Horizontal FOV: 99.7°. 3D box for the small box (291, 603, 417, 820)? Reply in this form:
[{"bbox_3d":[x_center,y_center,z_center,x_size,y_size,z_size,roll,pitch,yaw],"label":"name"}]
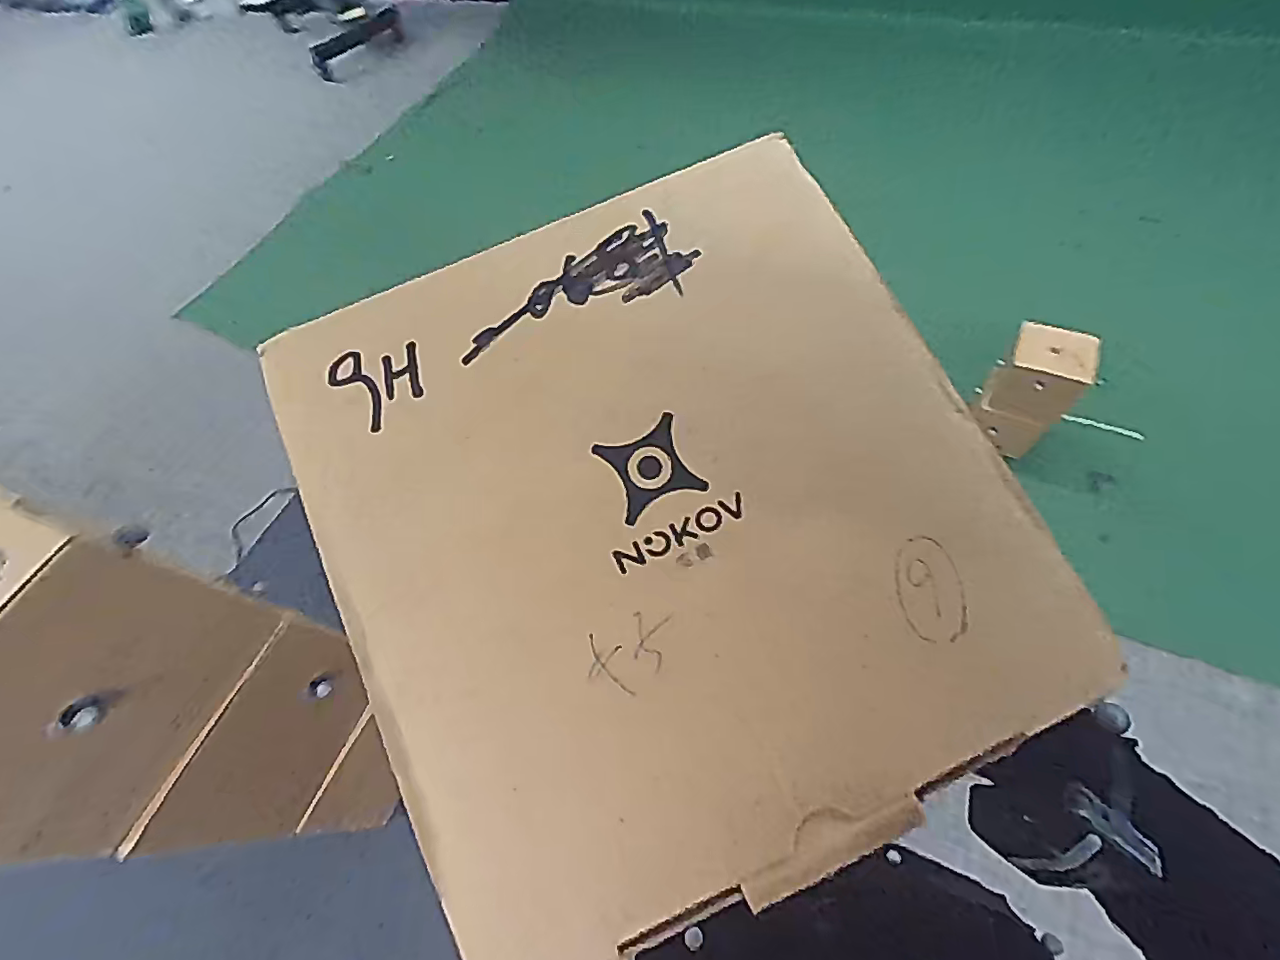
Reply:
[{"bbox_3d":[-0.357,0.271,0.634,0.179,0.176,0.168,19,64,16],"label":"small box"}]

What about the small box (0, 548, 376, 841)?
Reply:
[{"bbox_3d":[-0.379,0.193,0.493,0.168,0.176,0.179,16,64,16],"label":"small box"}]

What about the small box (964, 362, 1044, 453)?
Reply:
[{"bbox_3d":[1.064,-0.208,1.584,0.168,0.176,0.179,22,65,19],"label":"small box"}]

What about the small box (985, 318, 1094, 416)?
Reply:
[{"bbox_3d":[1.059,-0.296,1.445,0.179,0.176,0.168,22,65,18],"label":"small box"}]
